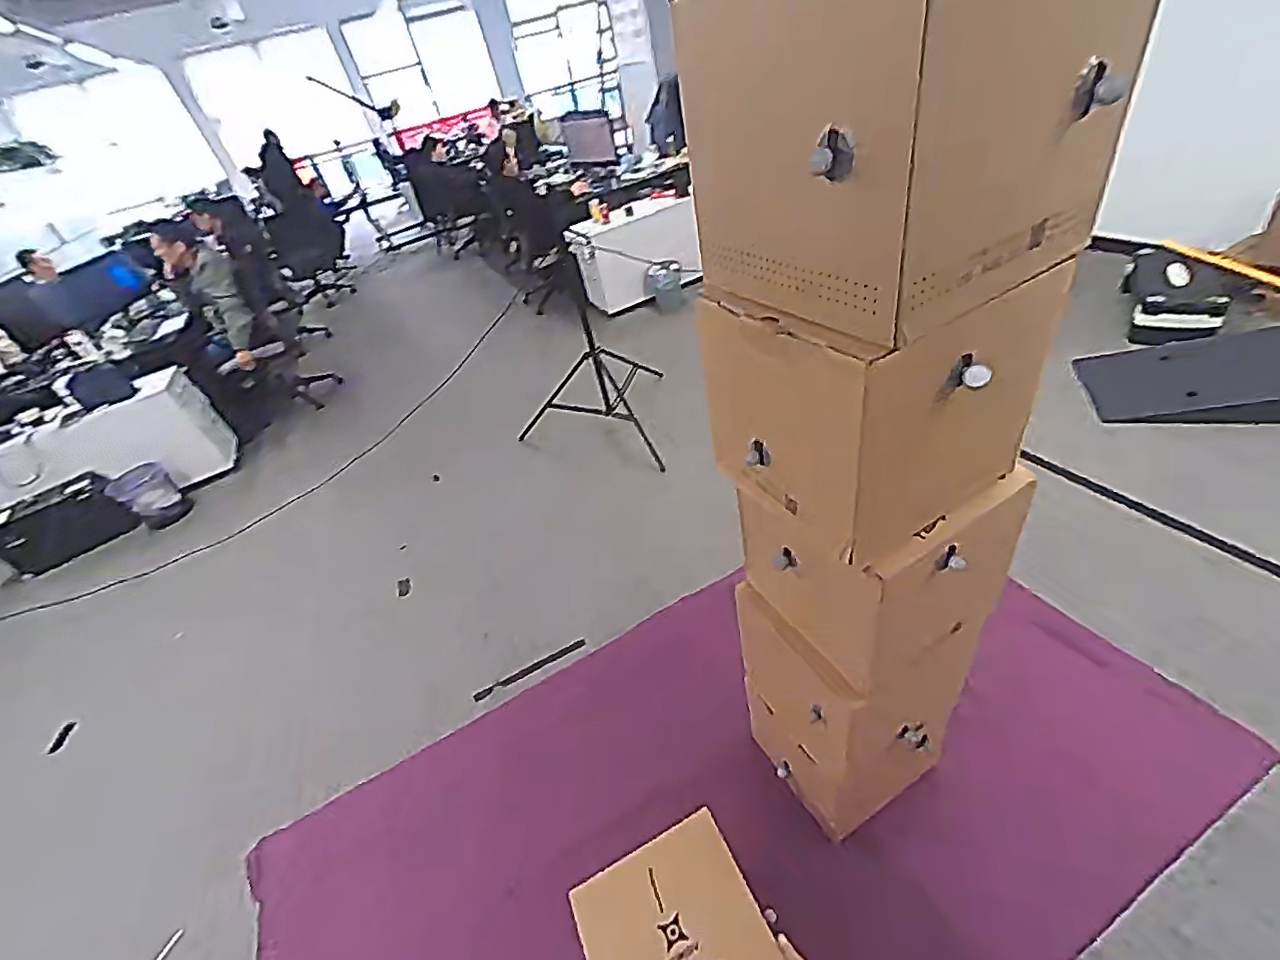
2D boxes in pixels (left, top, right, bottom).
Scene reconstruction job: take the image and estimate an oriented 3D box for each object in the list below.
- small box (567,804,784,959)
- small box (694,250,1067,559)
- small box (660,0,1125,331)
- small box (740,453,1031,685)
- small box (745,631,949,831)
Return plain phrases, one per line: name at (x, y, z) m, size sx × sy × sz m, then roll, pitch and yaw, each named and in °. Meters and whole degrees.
small box at (0.050, 0.482, 0.547) m, size 0.168 × 0.176 × 0.179 m, roll -26°, pitch 37°, yaw -10°
small box at (0.164, -0.076, 0.412) m, size 0.179 × 0.176 × 0.168 m, roll -28°, pitch 40°, yaw -16°
small box at (0.136, -0.205, 0.316) m, size 0.168 × 0.176 × 0.179 m, roll -28°, pitch 39°, yaw -18°
small box at (0.208, 0.050, 0.505) m, size 0.168 × 0.176 × 0.179 m, roll -28°, pitch 40°, yaw -15°
small box at (0.258, 0.307, 0.703) m, size 0.179 × 0.176 × 0.168 m, roll -28°, pitch 39°, yaw -15°
